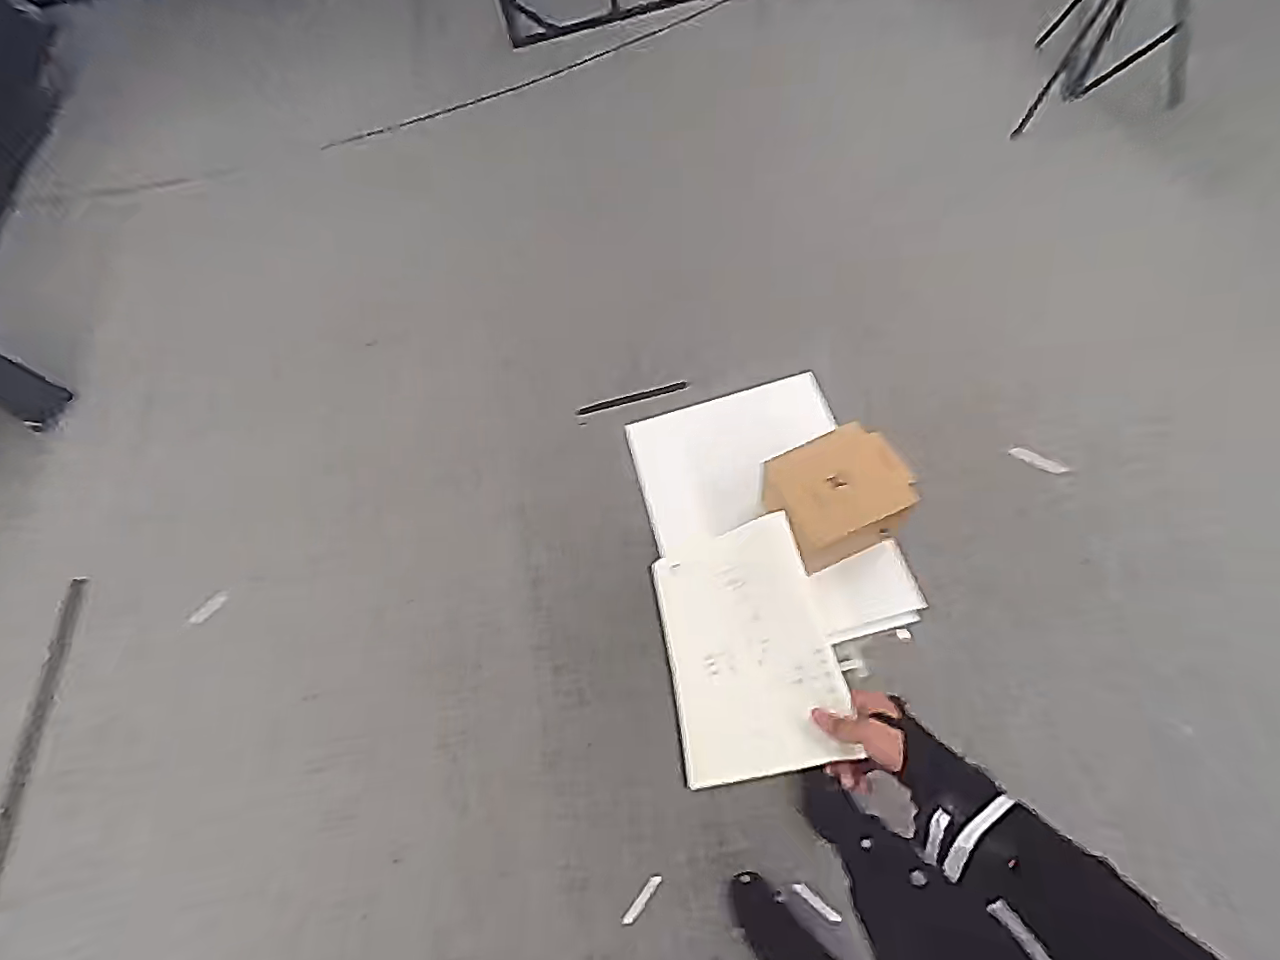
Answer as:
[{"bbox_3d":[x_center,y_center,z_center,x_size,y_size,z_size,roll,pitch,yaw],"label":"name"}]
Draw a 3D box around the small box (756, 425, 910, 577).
[{"bbox_3d":[0.312,0.042,0.918,0.179,0.176,0.168,-24,63,-3],"label":"small box"}]
